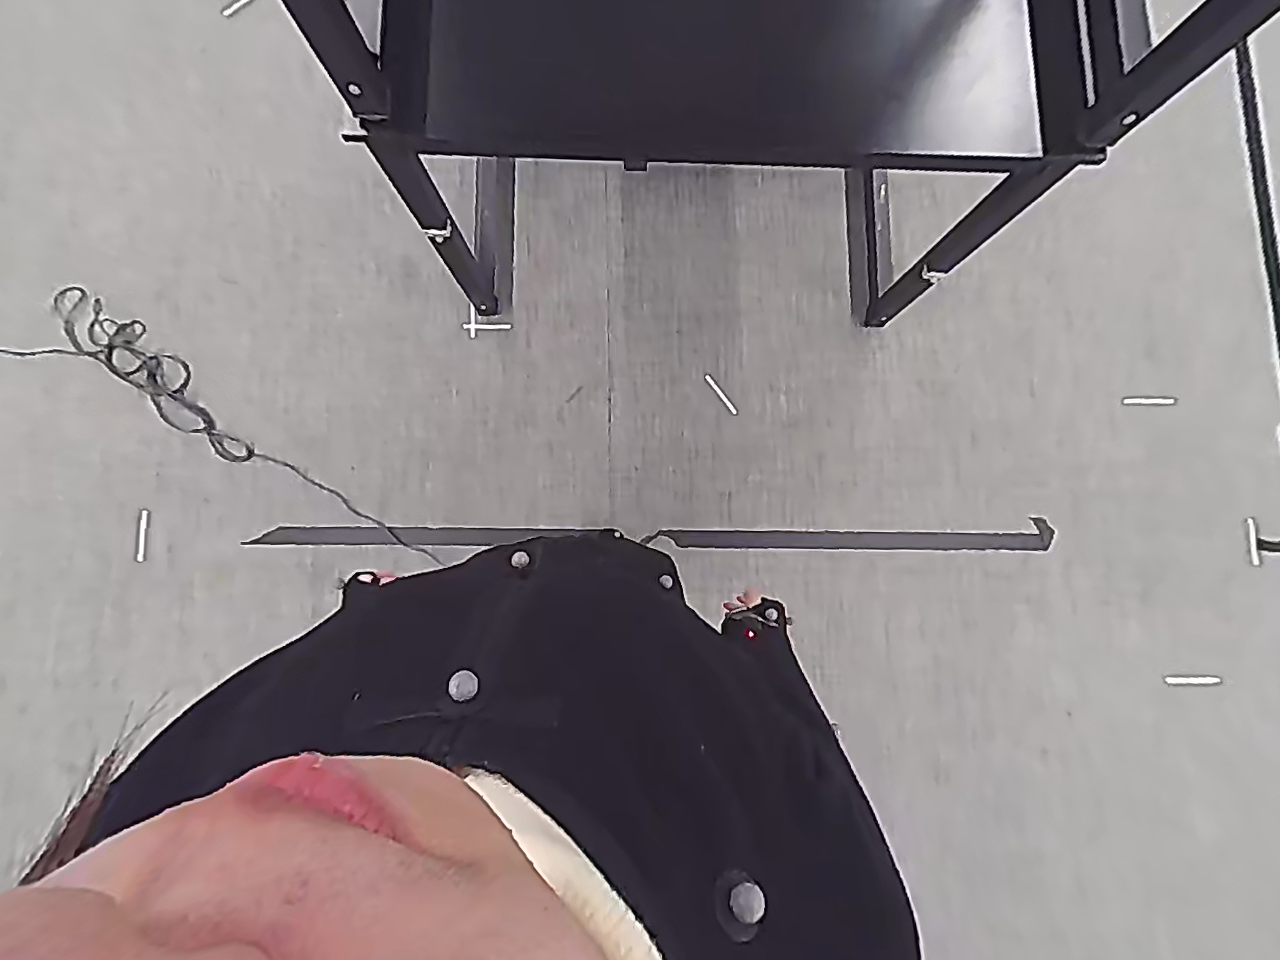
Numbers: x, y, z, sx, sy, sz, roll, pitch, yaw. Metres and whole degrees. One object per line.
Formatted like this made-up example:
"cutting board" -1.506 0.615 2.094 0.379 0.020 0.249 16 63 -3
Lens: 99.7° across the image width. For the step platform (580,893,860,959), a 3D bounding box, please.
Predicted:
"step platform" 0.191 1.231 1.300 0.684 0.204 0.286 6 84 -2
